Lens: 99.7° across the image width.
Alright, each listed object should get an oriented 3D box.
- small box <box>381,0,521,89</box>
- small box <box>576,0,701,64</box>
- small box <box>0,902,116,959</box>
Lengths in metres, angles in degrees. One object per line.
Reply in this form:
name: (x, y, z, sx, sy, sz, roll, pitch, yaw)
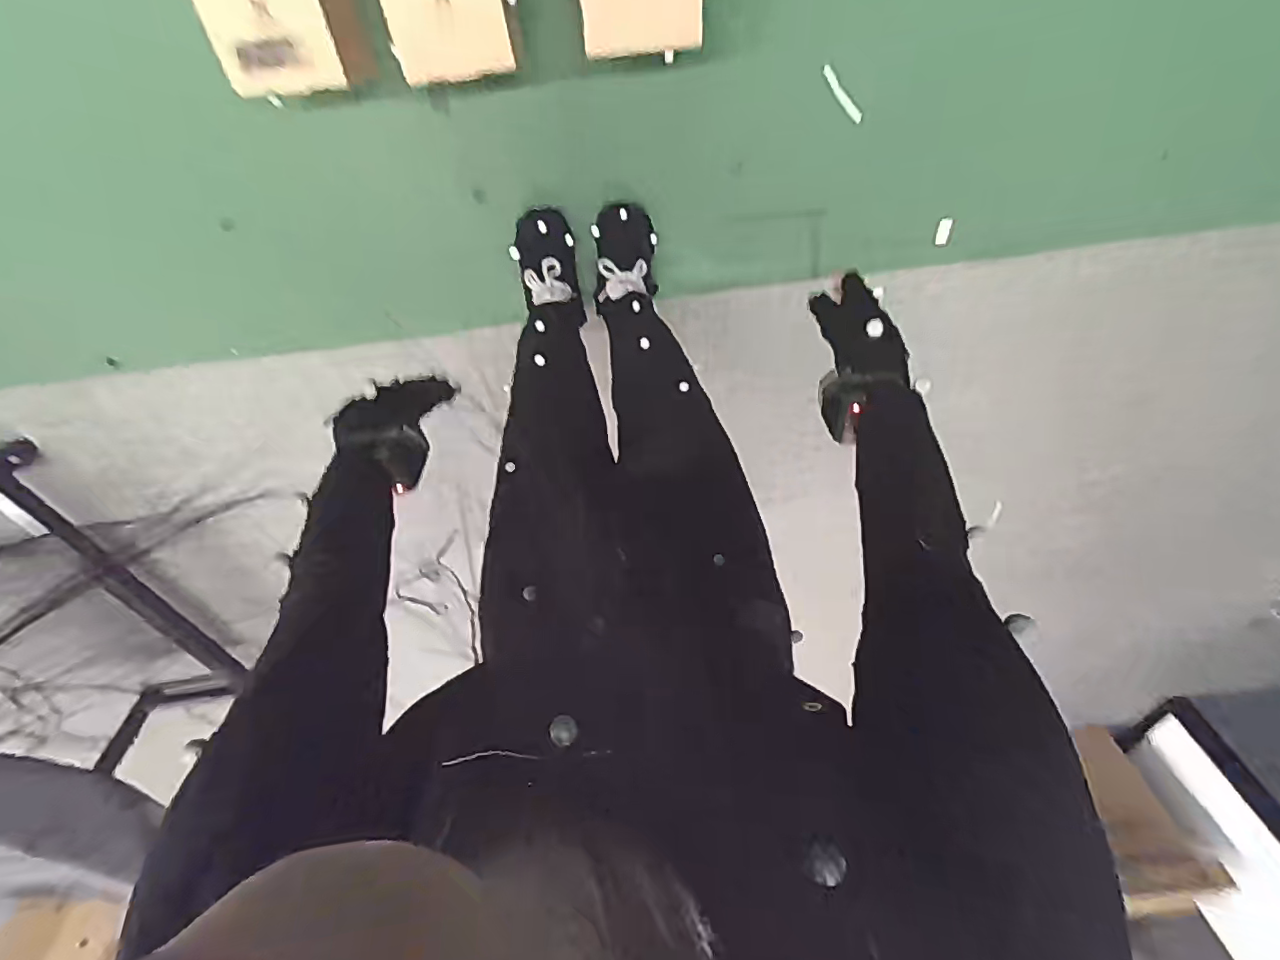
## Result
small box: (-0.282, -0.711, 0.811, 0.168, 0.176, 0.179, -8, 132, 0)
small box: (-0.009, -0.741, 0.813, 0.179, 0.176, 0.168, -6, 131, -1)
small box: (-1.502, 1.184, 1.359, 0.168, 0.176, 0.179, -6, 131, -1)
